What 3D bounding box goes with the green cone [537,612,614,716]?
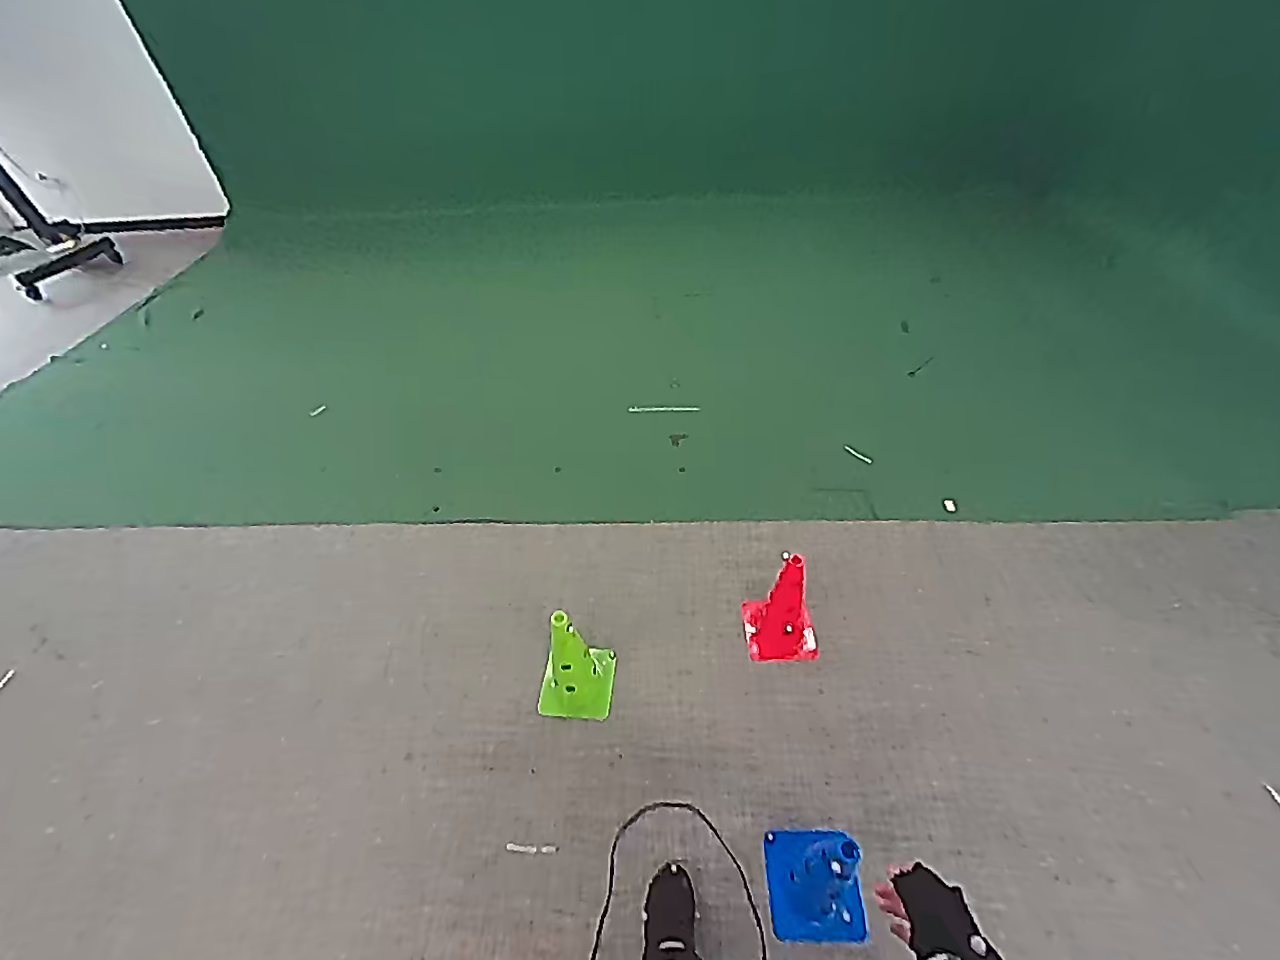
[{"bbox_3d":[-0.191,0.449,1.417,0.200,0.368,0.202,1,47,5],"label":"green cone"}]
